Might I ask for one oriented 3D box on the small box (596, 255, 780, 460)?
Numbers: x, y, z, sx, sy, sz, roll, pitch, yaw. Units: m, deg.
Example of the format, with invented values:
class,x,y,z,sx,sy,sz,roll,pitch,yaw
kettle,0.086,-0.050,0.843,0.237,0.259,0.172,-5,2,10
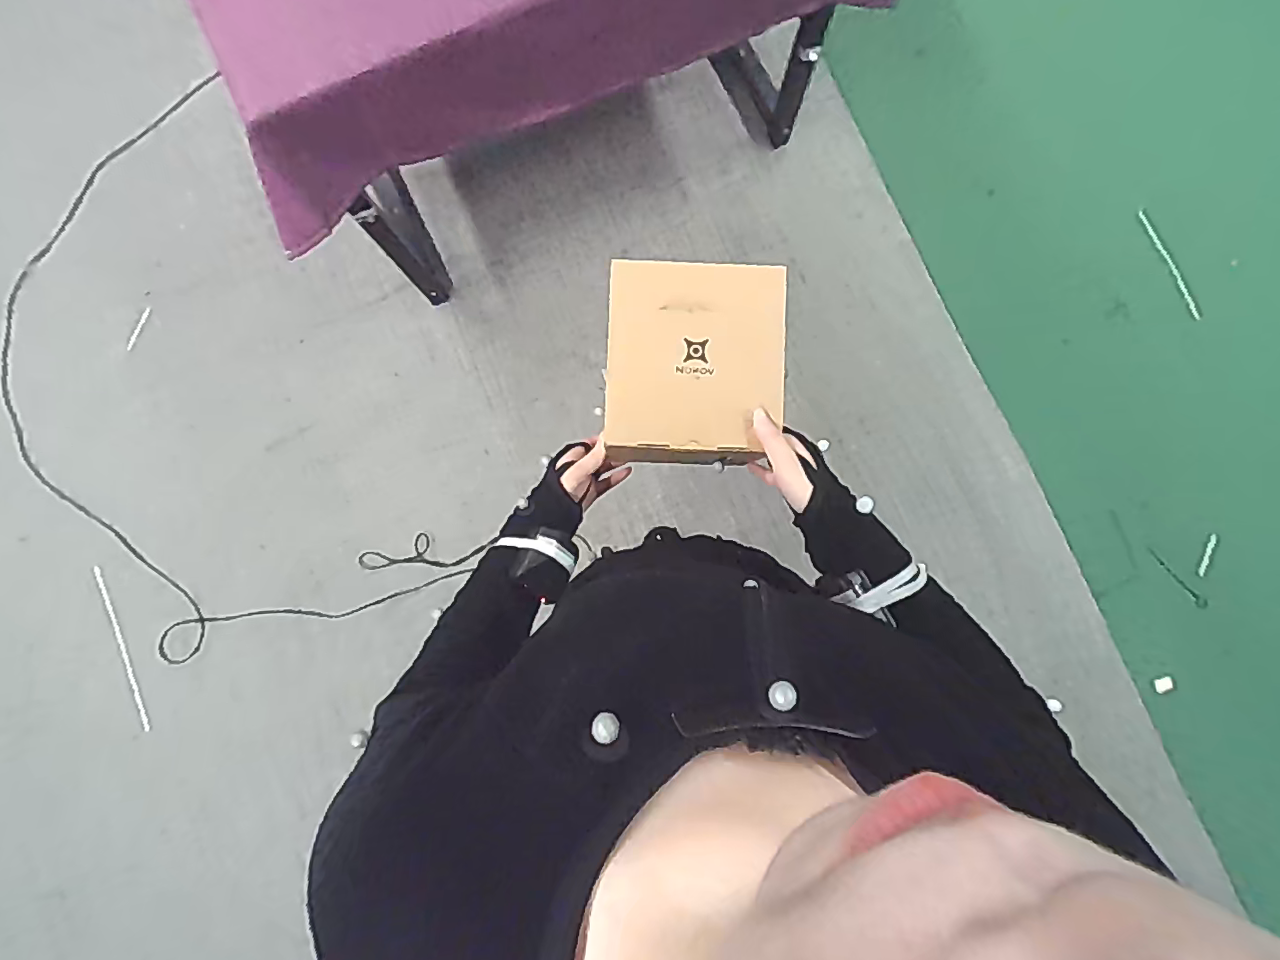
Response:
class,x,y,z,sx,sy,sz,roll,pitch,yaw
small box,0.044,-0.115,0.579,0.168,0.176,0.179,3,87,-2
